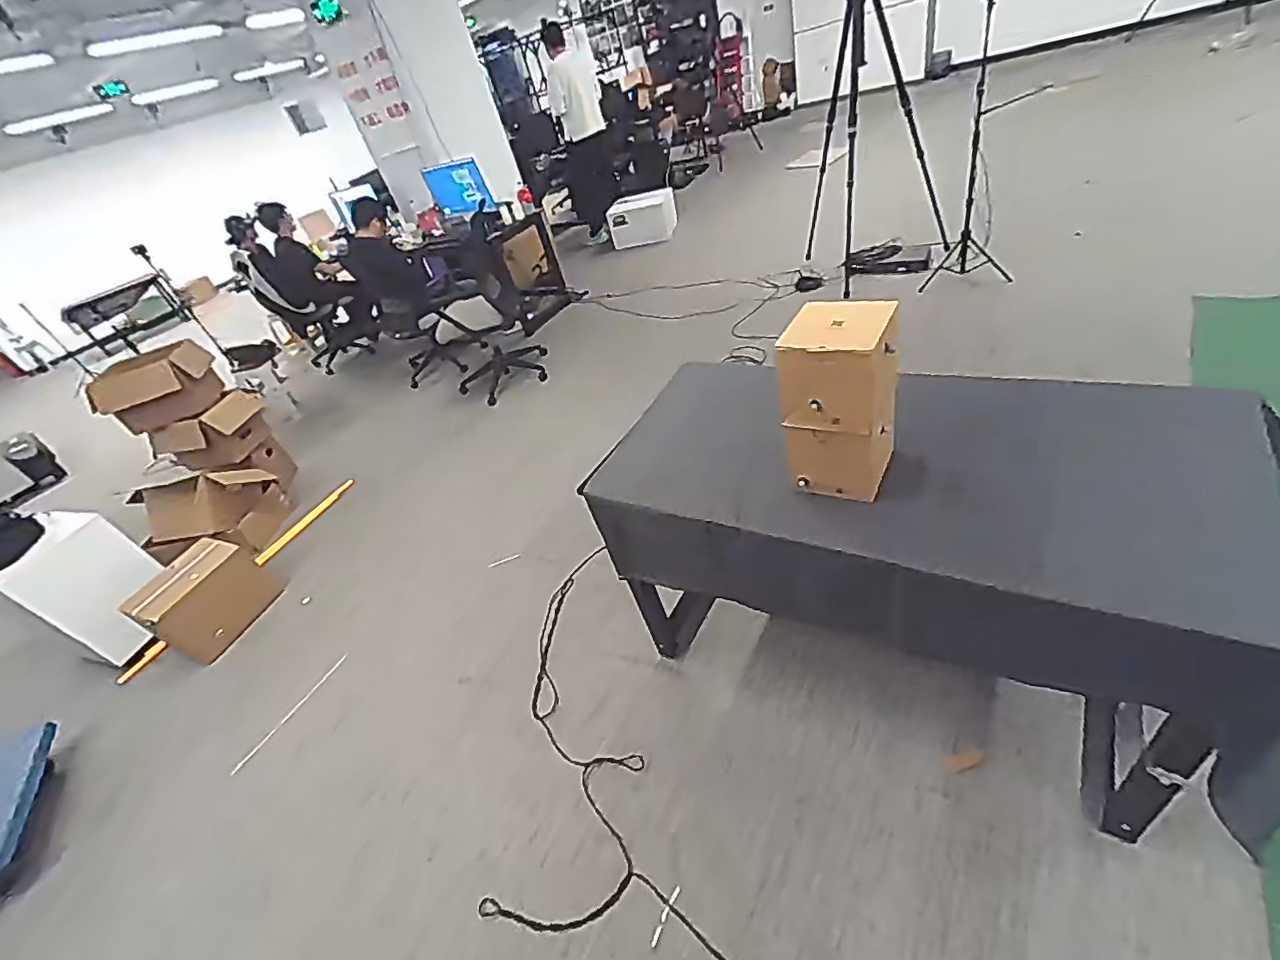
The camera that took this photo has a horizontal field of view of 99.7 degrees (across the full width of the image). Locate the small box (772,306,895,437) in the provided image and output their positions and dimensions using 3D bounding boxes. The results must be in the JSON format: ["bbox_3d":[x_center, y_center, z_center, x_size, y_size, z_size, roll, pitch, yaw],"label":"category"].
[{"bbox_3d":[0.356,-0.202,0.989,0.168,0.176,0.179,11,47,33],"label":"small box"}]

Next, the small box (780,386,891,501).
[{"bbox_3d":[0.399,-0.081,1.088,0.168,0.176,0.179,11,46,33],"label":"small box"}]
